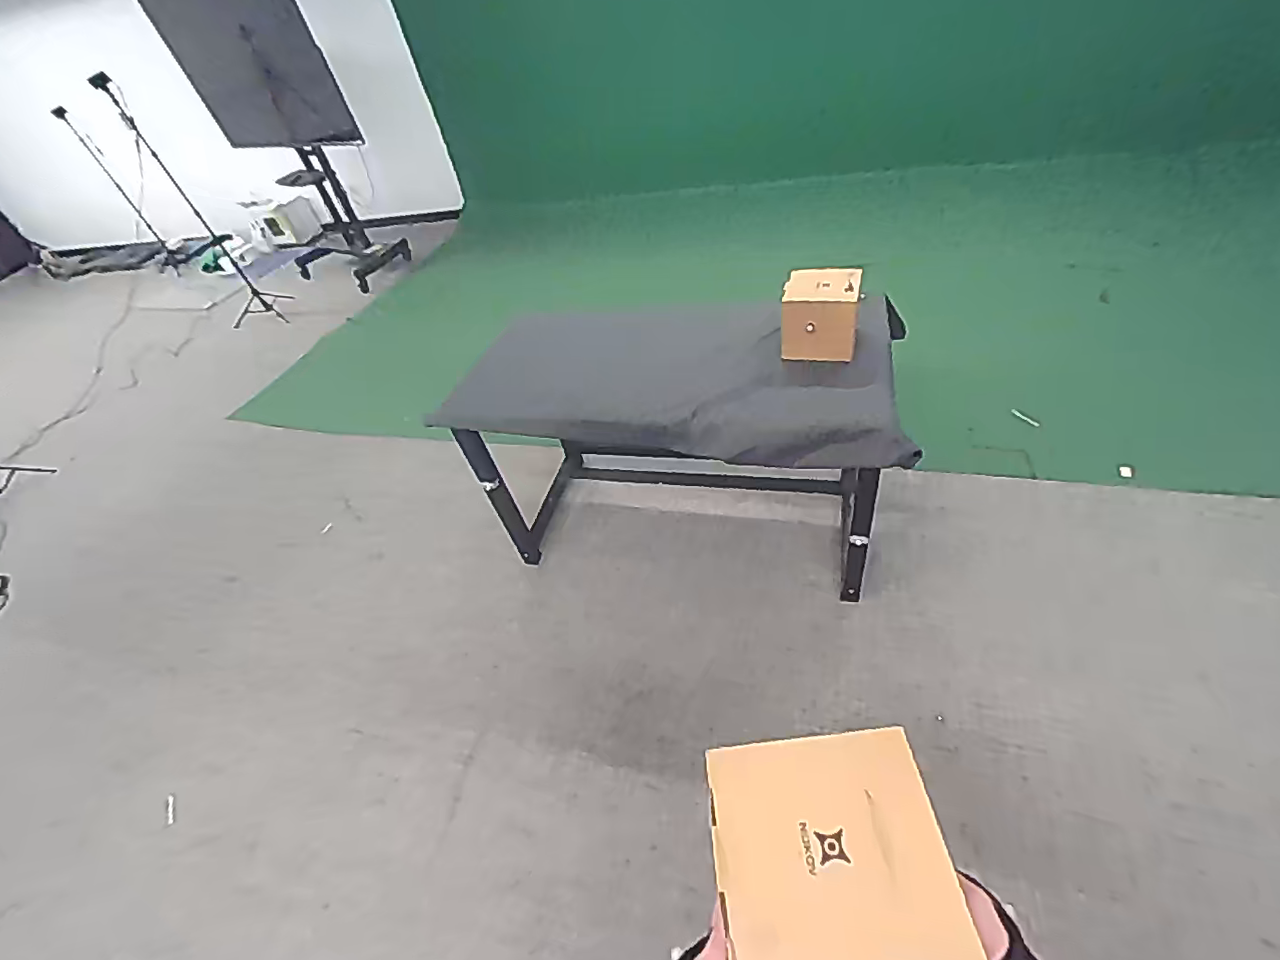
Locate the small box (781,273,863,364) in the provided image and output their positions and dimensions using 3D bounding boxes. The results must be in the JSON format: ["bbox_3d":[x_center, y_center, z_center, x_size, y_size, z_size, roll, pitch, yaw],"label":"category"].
[{"bbox_3d":[0.469,-0.413,1.393,0.179,0.176,0.168,7,48,22],"label":"small box"}]

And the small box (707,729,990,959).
[{"bbox_3d":[0.166,0.344,0.481,0.179,0.176,0.168,-11,47,6],"label":"small box"}]
